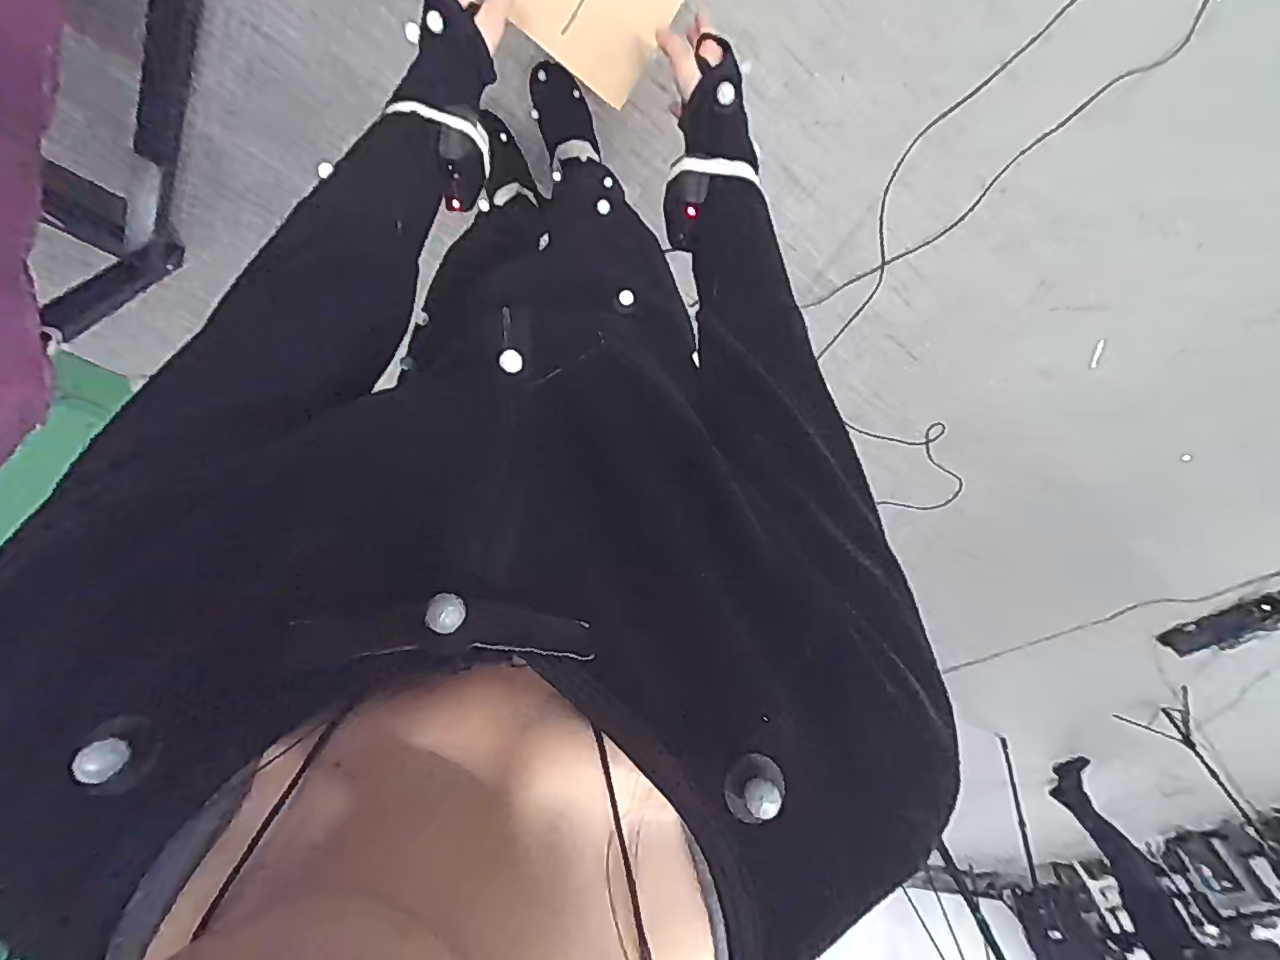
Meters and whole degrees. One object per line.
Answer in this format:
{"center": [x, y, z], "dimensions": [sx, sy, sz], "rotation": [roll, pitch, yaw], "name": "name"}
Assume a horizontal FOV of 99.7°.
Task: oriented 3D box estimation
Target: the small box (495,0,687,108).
{"center": [-0.038, -0.545, 0.569], "dimensions": [0.168, 0.176, 0.179], "rotation": [28, 127, -24], "name": "small box"}
